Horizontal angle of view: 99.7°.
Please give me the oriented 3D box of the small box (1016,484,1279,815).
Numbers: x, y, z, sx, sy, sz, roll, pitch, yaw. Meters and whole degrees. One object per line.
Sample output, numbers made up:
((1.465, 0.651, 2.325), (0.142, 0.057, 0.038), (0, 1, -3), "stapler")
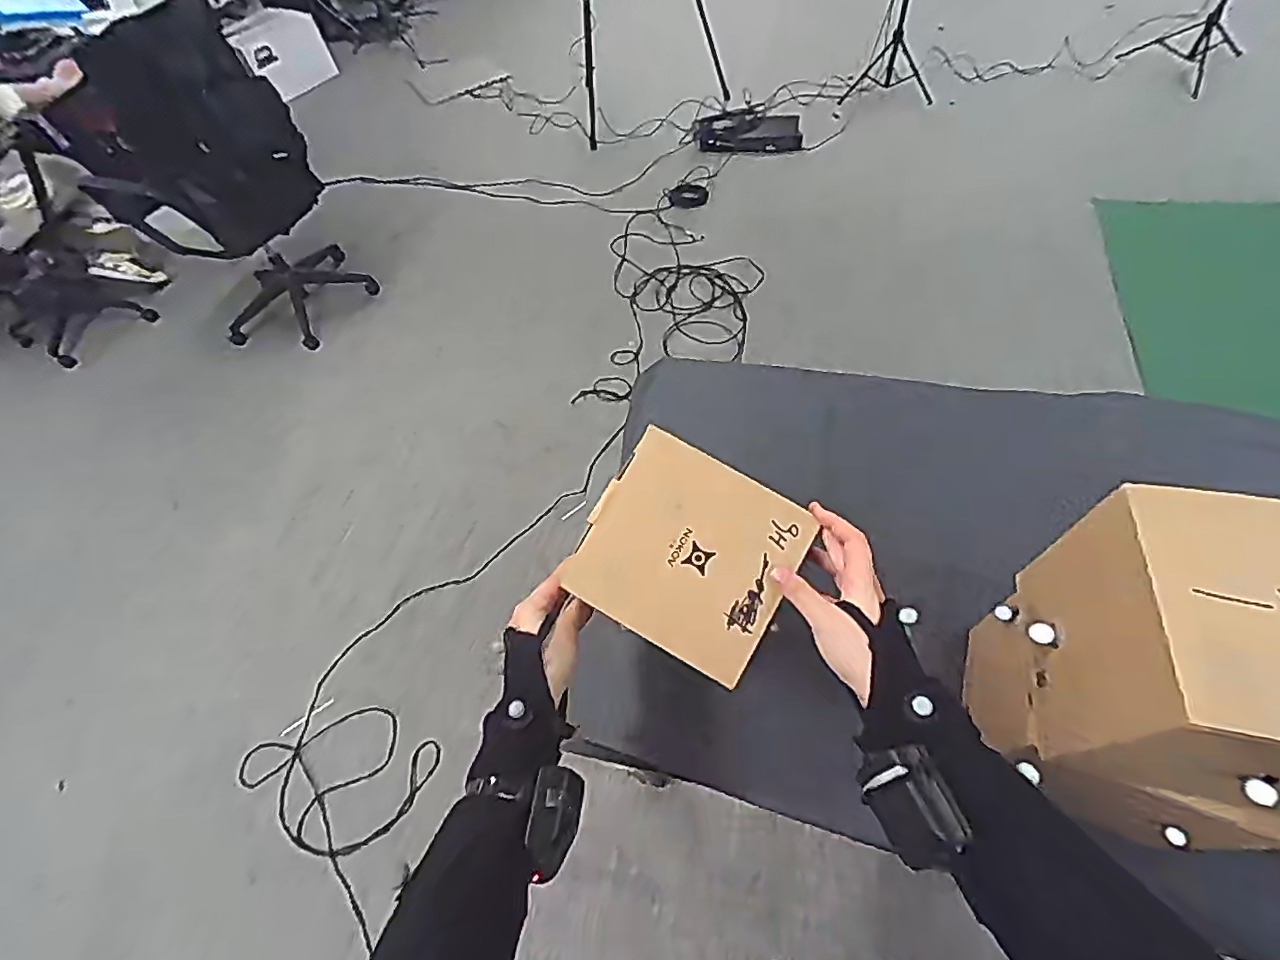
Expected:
((0.408, 0.125, 0.384), (0.179, 0.176, 0.168), (8, 58, 14), "small box")
